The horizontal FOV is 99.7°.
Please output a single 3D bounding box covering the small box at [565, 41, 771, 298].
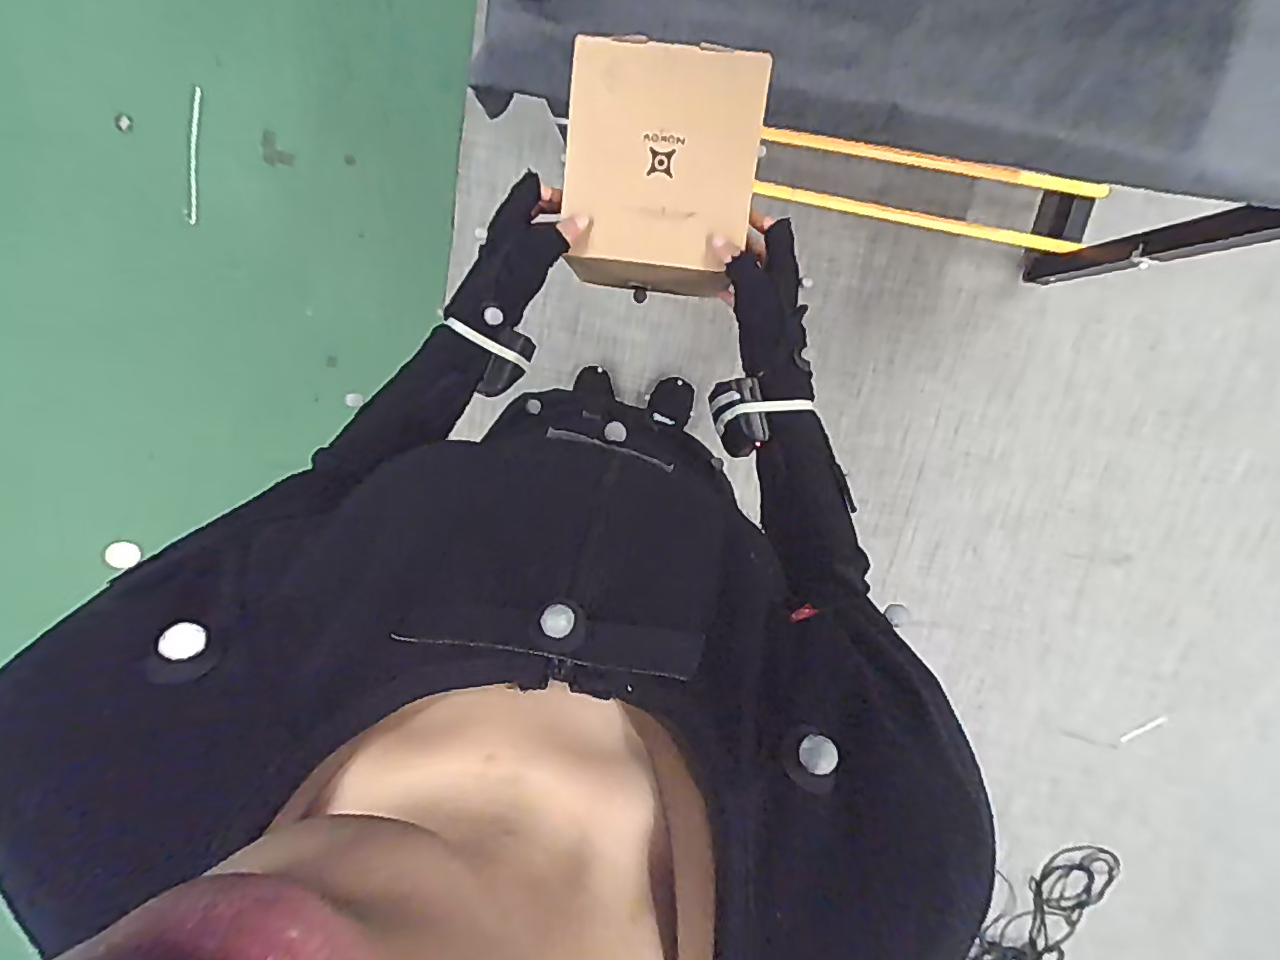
[{"bbox_3d":[0.025,-0.295,0.552,0.168,0.176,0.179,6,102,1],"label":"small box"}]
